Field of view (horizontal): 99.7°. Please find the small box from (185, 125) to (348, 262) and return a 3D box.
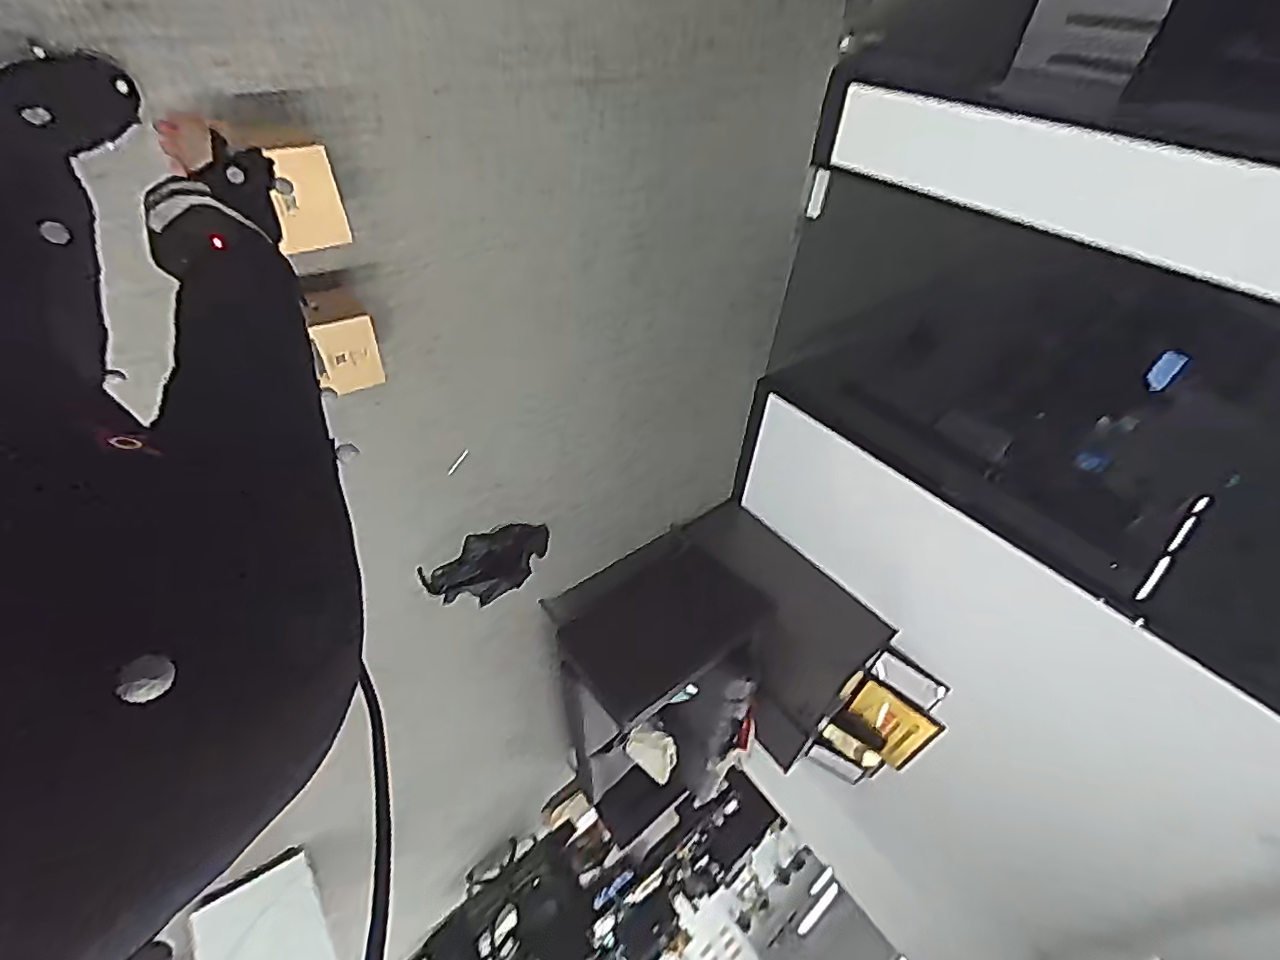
[{"bbox_3d":[-0.663,-0.518,0.968,0.179,0.176,0.168,-28,143,-28],"label":"small box"}]
